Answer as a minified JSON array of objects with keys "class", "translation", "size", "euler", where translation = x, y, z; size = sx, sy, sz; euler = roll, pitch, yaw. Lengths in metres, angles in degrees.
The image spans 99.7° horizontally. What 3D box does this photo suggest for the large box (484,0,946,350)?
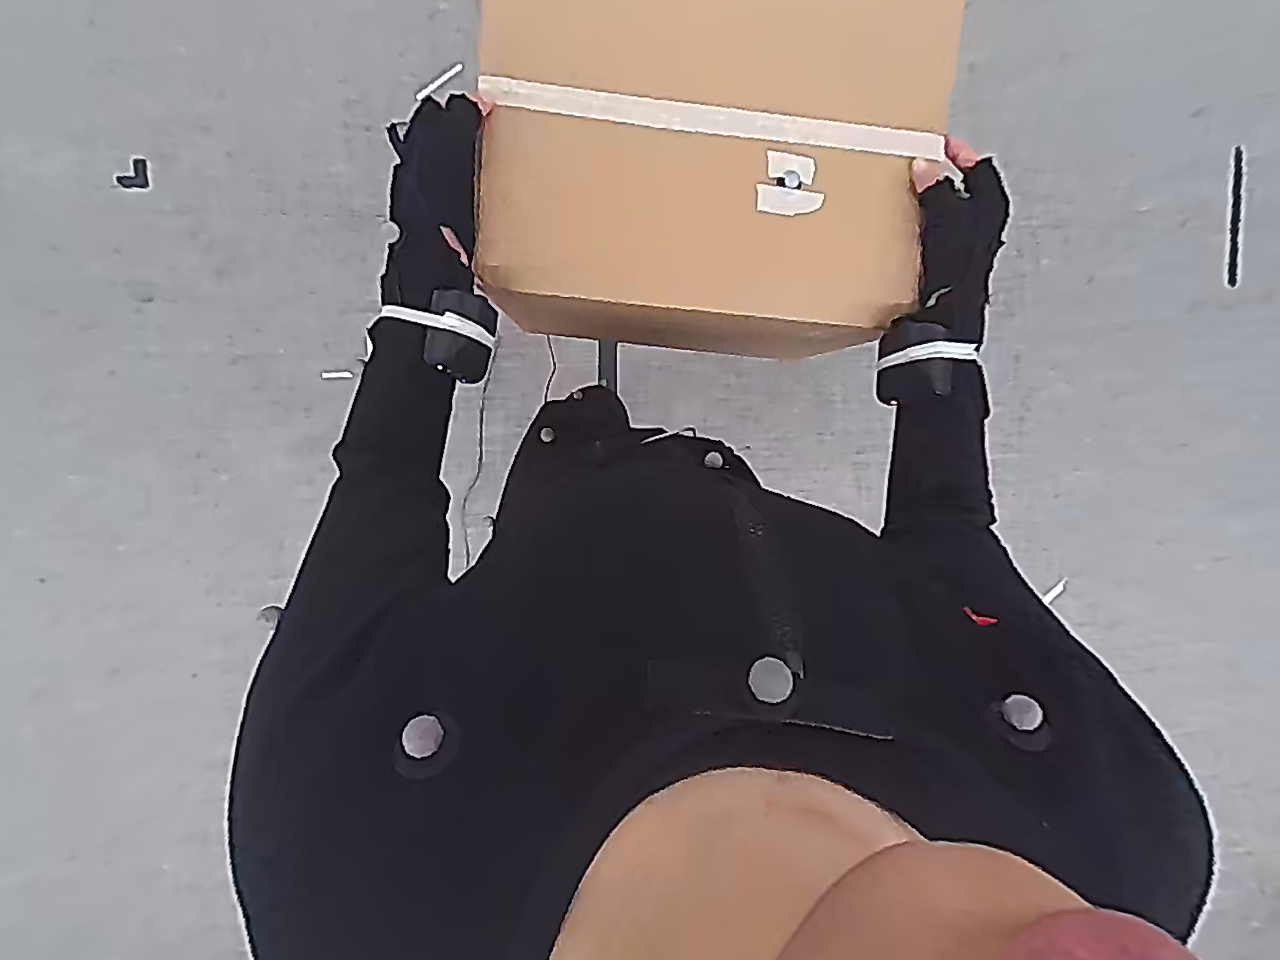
[{"class":"large box","translation":[0.053,-0.336,0.626],"size":[0.408,0.320,0.320],"euler":[4,99,-5]}]
